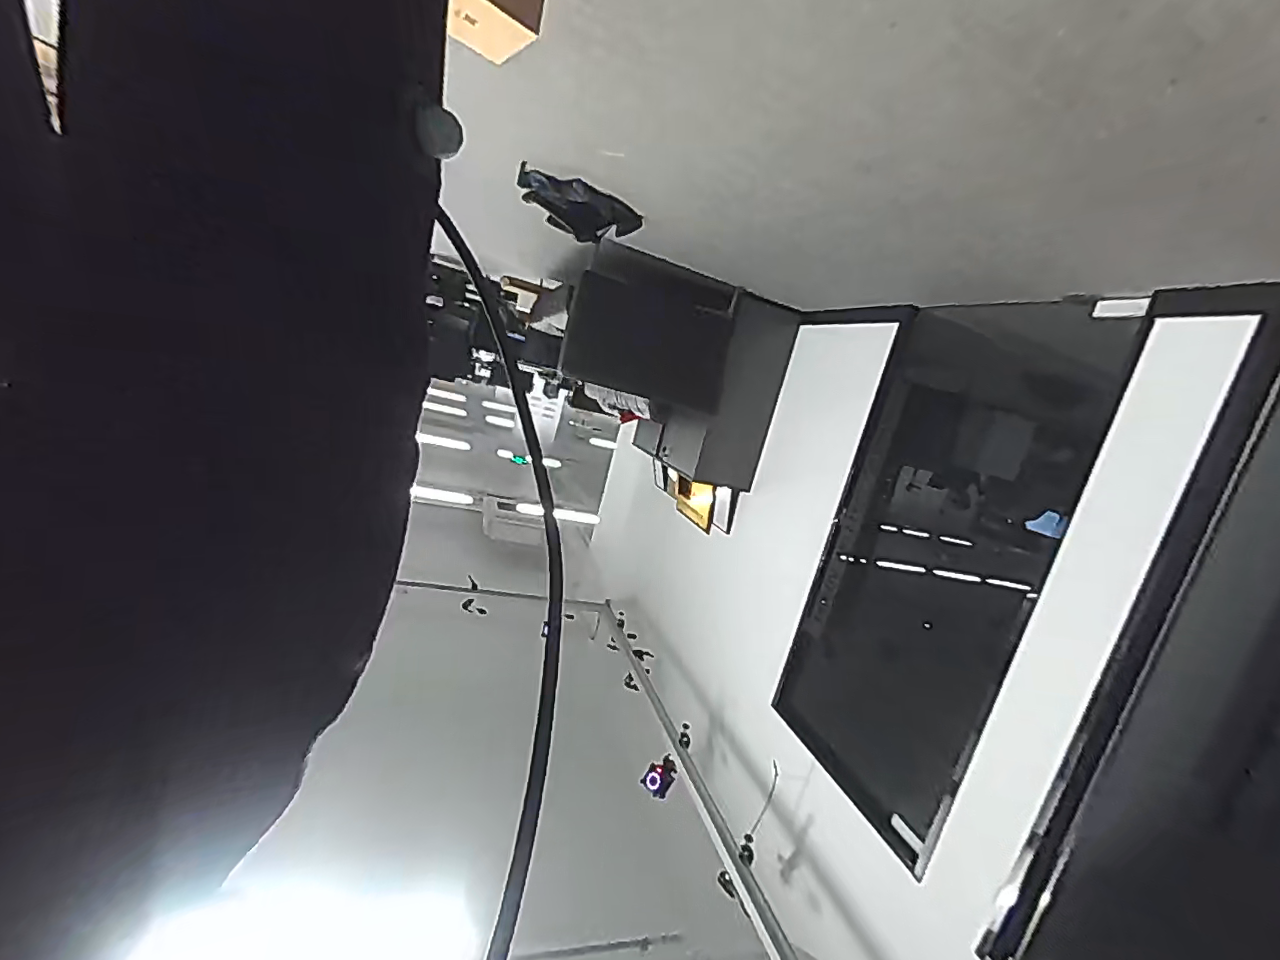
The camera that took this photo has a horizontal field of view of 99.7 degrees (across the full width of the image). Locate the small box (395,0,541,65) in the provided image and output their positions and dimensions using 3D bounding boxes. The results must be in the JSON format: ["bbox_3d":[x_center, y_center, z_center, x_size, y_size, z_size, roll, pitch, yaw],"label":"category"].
[{"bbox_3d":[-0.248,-0.791,0.824,0.179,0.176,0.168,7,-167,-40],"label":"small box"}]
